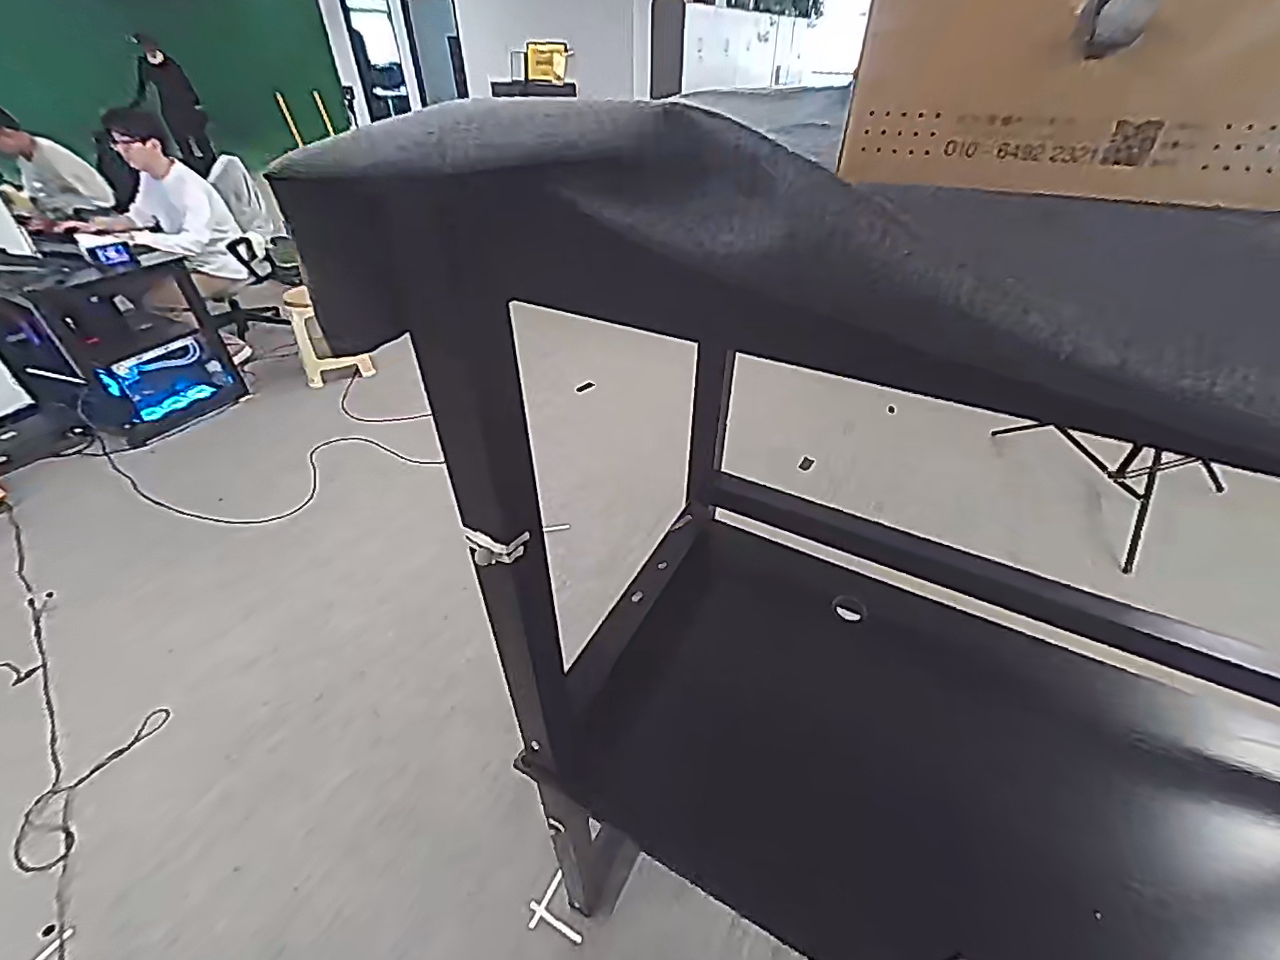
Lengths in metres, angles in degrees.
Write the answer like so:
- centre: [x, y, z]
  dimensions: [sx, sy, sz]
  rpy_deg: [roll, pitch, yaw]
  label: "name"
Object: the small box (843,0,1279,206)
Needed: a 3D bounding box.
- centre: [0.194, -0.231, 0.232]
  dimensions: [0.168, 0.176, 0.179]
  rpy_deg: [13, 39, 15]
  label: "small box"
